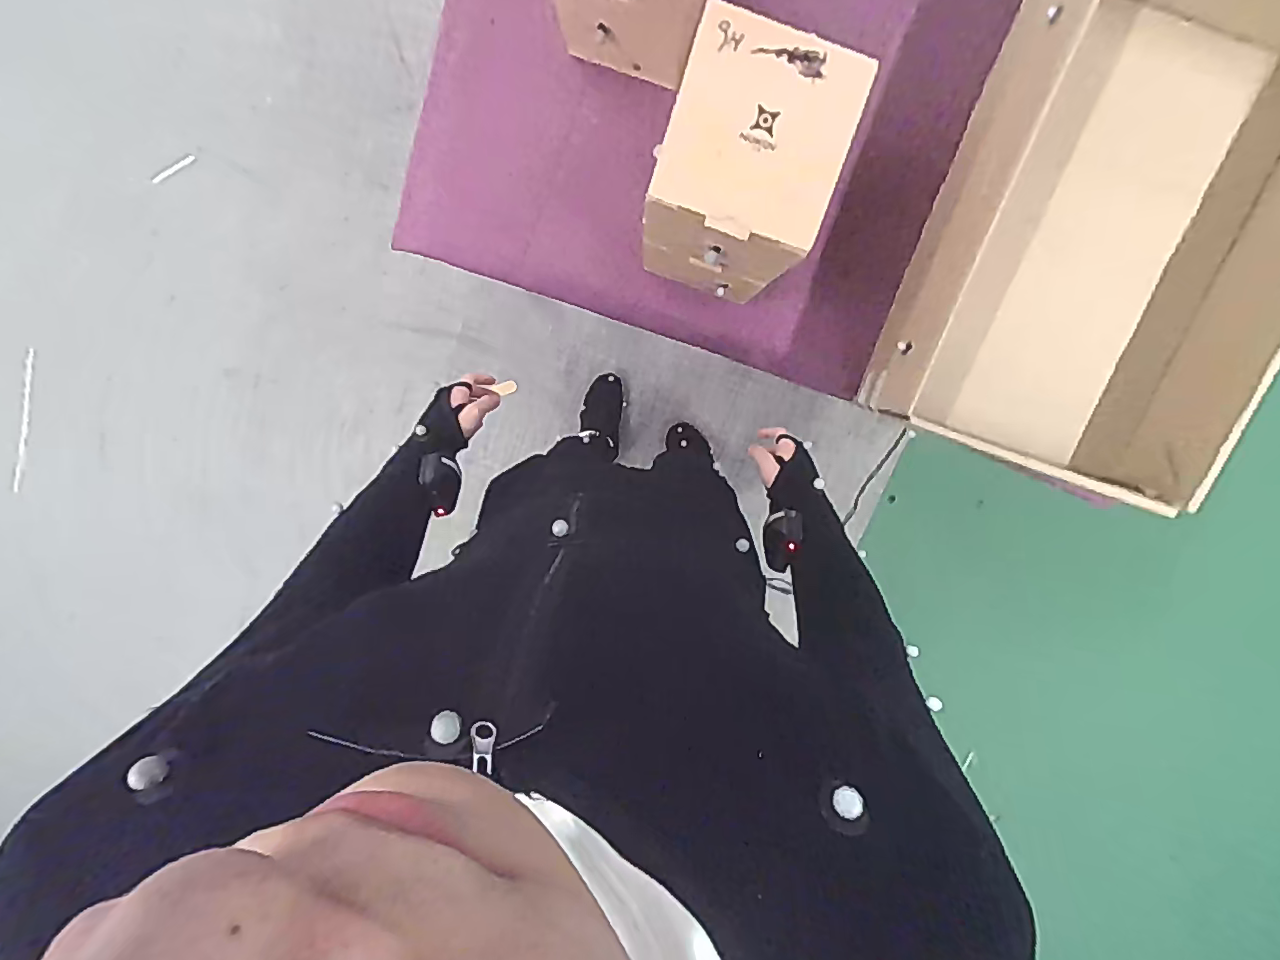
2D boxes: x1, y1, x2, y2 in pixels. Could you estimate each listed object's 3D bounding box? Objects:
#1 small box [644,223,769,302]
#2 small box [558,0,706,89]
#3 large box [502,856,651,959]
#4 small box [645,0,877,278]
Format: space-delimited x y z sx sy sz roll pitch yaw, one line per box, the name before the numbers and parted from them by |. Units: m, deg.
small box | 0.112 -0.360 0.735 0.168 0.176 0.179 19 99 -3
small box | 0.001 -0.646 0.684 0.168 0.176 0.179 18 100 -2
large box | -0.191 1.523 1.773 0.408 0.320 0.320 -13 101 3
small box | 0.111 -0.333 0.573 0.168 0.176 0.179 19 100 -4
